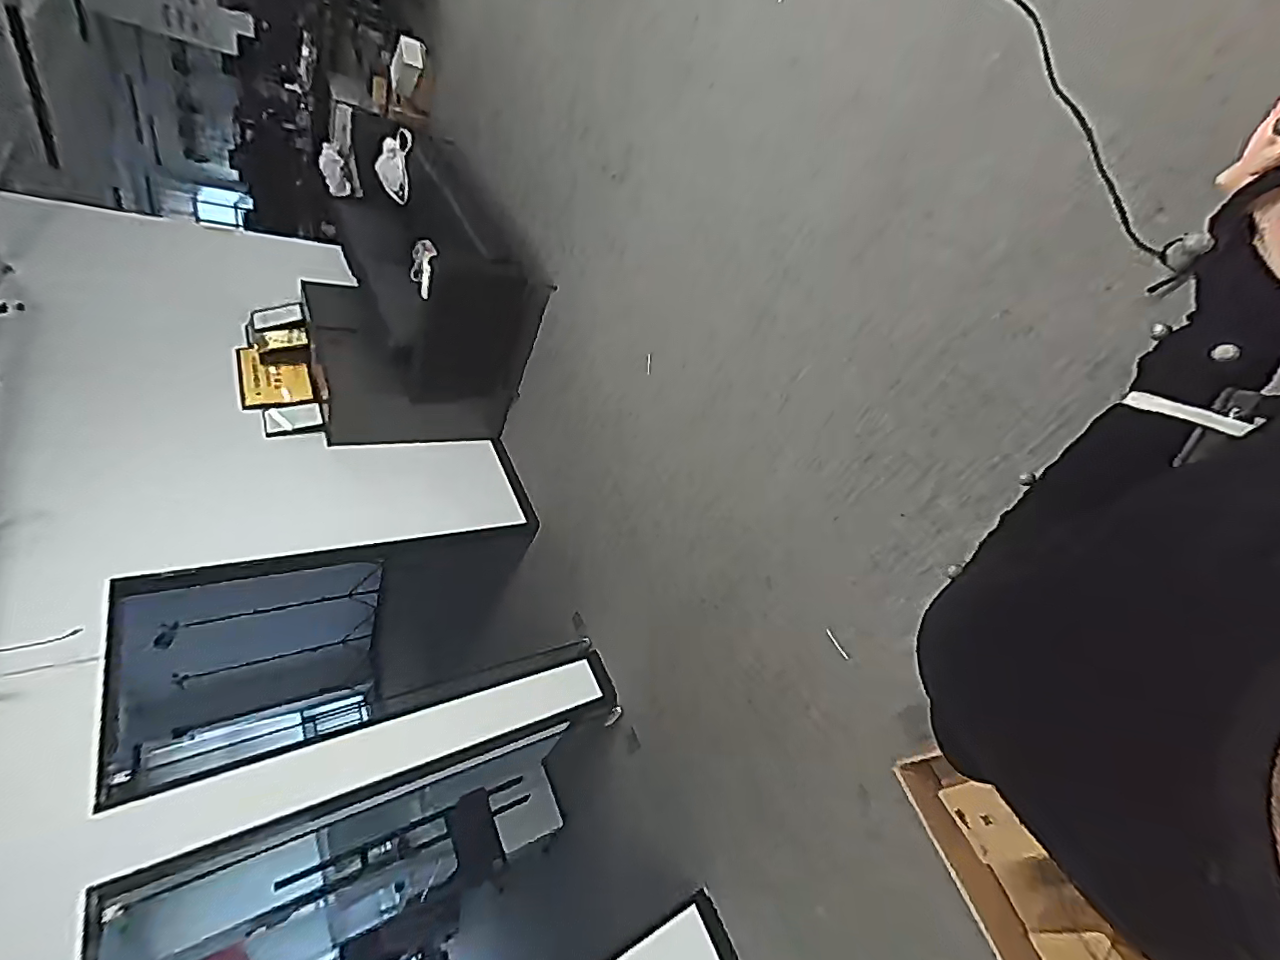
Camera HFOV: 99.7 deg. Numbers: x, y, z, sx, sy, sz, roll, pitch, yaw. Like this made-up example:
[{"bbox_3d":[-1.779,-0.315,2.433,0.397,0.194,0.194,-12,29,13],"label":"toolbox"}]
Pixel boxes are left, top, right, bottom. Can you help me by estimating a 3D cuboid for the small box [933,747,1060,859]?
[{"bbox_3d":[0.859,0.768,1.296,0.179,0.176,0.168,-54,53,40],"label":"small box"}]
